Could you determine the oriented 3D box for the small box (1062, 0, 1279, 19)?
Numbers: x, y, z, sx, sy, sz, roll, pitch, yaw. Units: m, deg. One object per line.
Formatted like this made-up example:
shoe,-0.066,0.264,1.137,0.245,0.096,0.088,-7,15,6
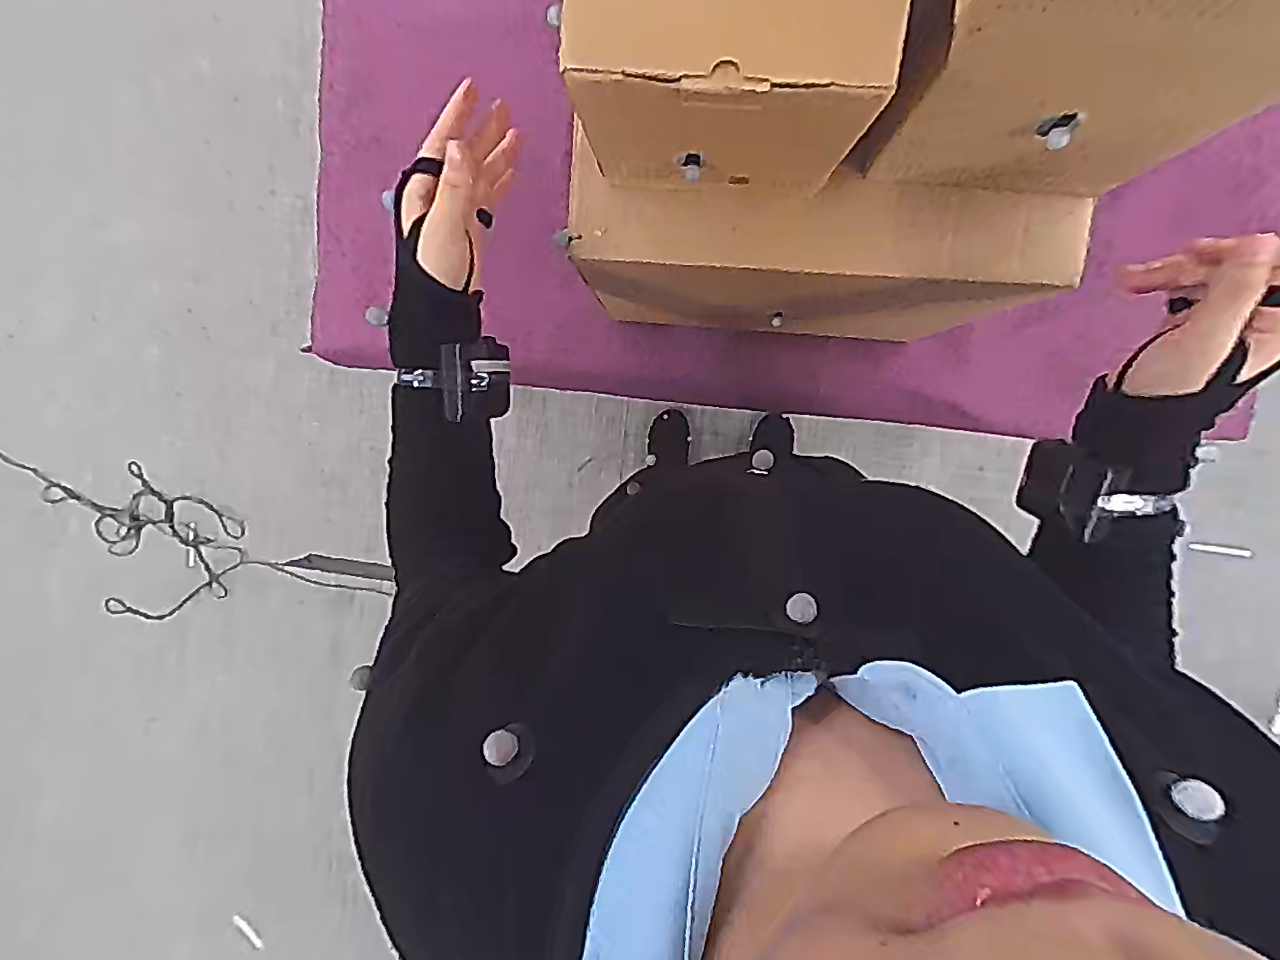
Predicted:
small box,0.232,-0.273,0.146,0.179,0.176,0.168,7,98,4
